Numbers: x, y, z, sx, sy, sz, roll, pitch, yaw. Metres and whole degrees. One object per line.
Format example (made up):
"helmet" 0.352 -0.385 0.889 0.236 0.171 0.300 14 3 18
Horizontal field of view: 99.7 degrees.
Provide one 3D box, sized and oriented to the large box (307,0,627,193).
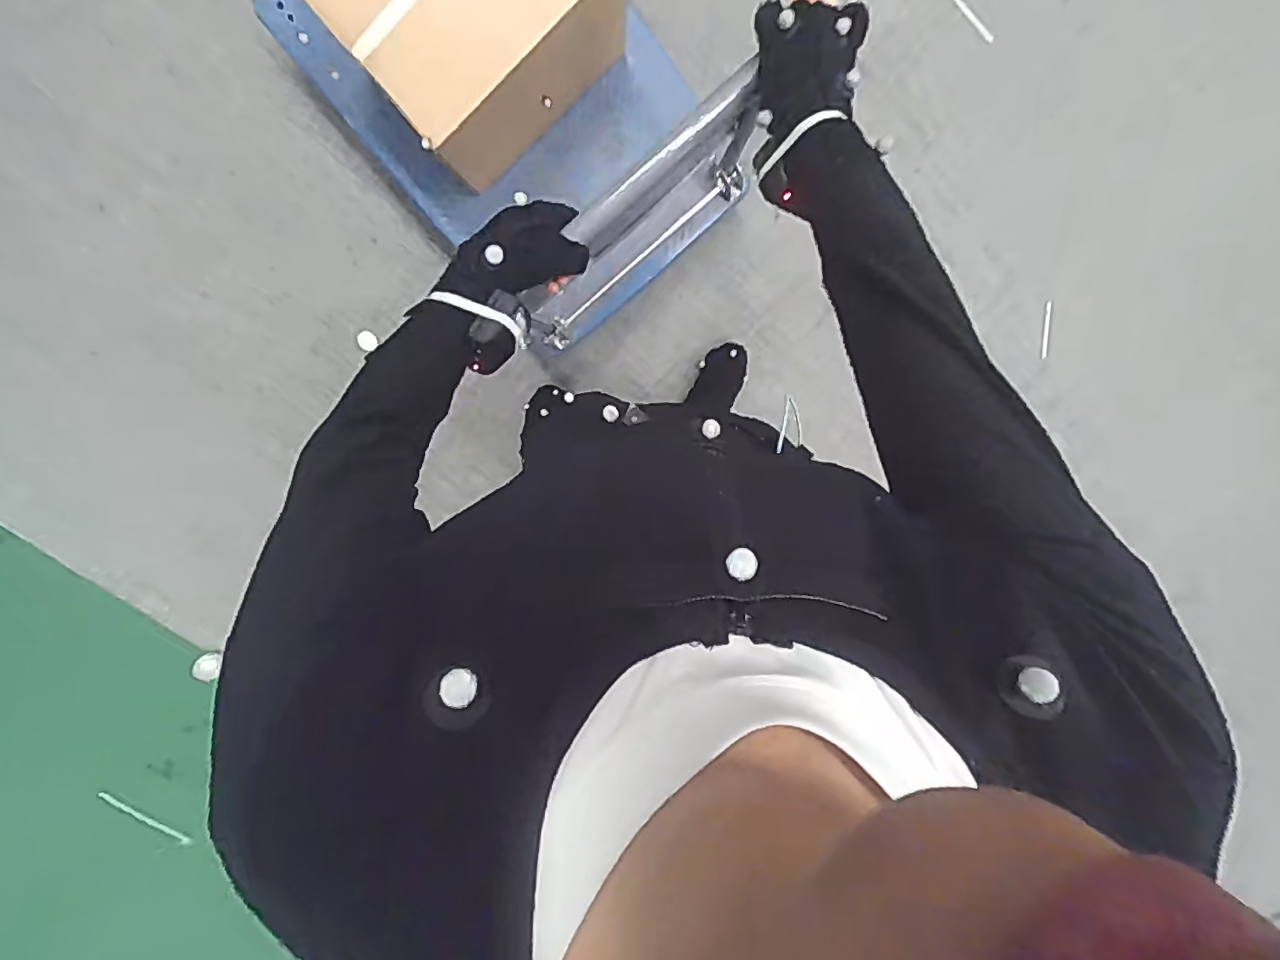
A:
"large box" -0.267 -0.791 0.929 0.408 0.320 0.320 -40 103 9
